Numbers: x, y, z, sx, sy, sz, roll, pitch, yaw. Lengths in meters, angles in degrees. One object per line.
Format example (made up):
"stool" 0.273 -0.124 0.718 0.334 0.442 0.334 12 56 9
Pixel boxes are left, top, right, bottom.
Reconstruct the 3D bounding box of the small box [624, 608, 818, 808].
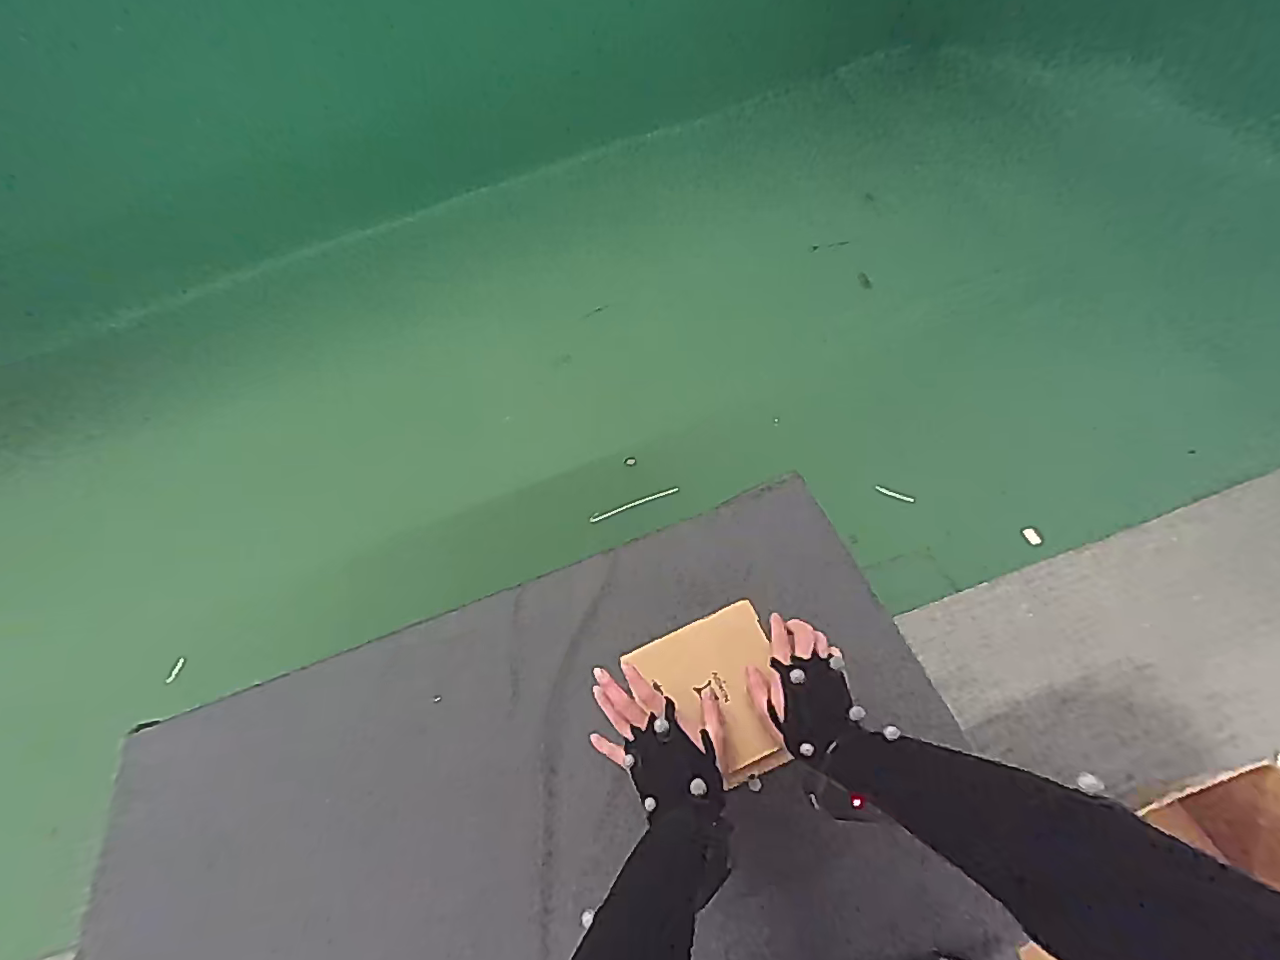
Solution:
"small box" 0.101 0.295 0.695 0.179 0.176 0.168 -26 57 -5
